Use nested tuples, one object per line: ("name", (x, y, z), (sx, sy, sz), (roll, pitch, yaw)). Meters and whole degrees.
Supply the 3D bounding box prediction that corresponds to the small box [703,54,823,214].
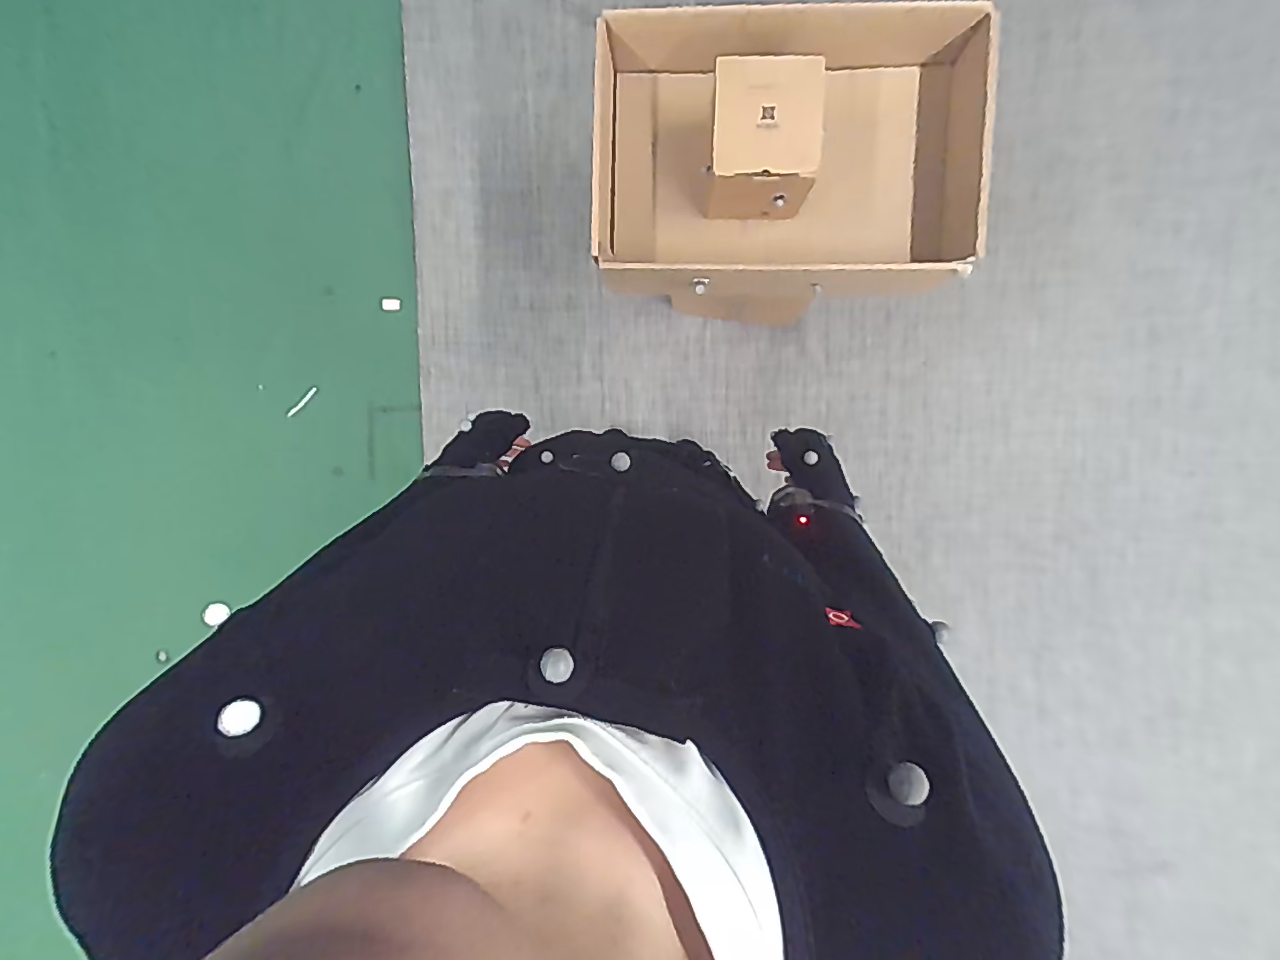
("small box", (0.197, -0.566, 0.906), (0.168, 0.176, 0.179), (1, 93, 1))
